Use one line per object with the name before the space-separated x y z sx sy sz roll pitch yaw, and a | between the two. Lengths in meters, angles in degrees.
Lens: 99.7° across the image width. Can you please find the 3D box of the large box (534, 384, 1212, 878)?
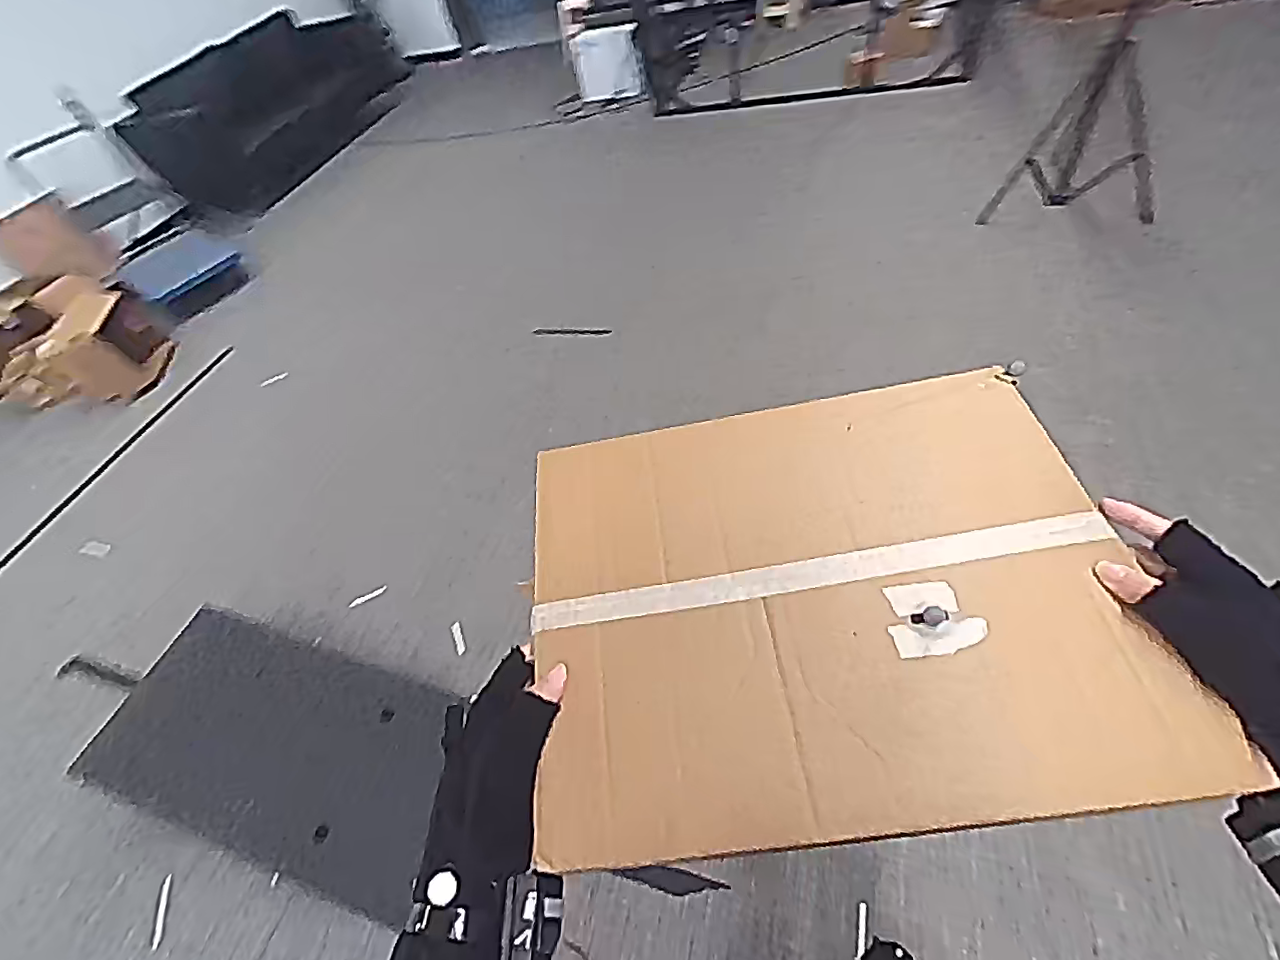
large box | 0.138 0.160 0.524 0.408 0.320 0.320 -11 56 4

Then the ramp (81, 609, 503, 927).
ramp | -0.913 0.706 1.448 0.991 0.206 0.509 7 53 19
